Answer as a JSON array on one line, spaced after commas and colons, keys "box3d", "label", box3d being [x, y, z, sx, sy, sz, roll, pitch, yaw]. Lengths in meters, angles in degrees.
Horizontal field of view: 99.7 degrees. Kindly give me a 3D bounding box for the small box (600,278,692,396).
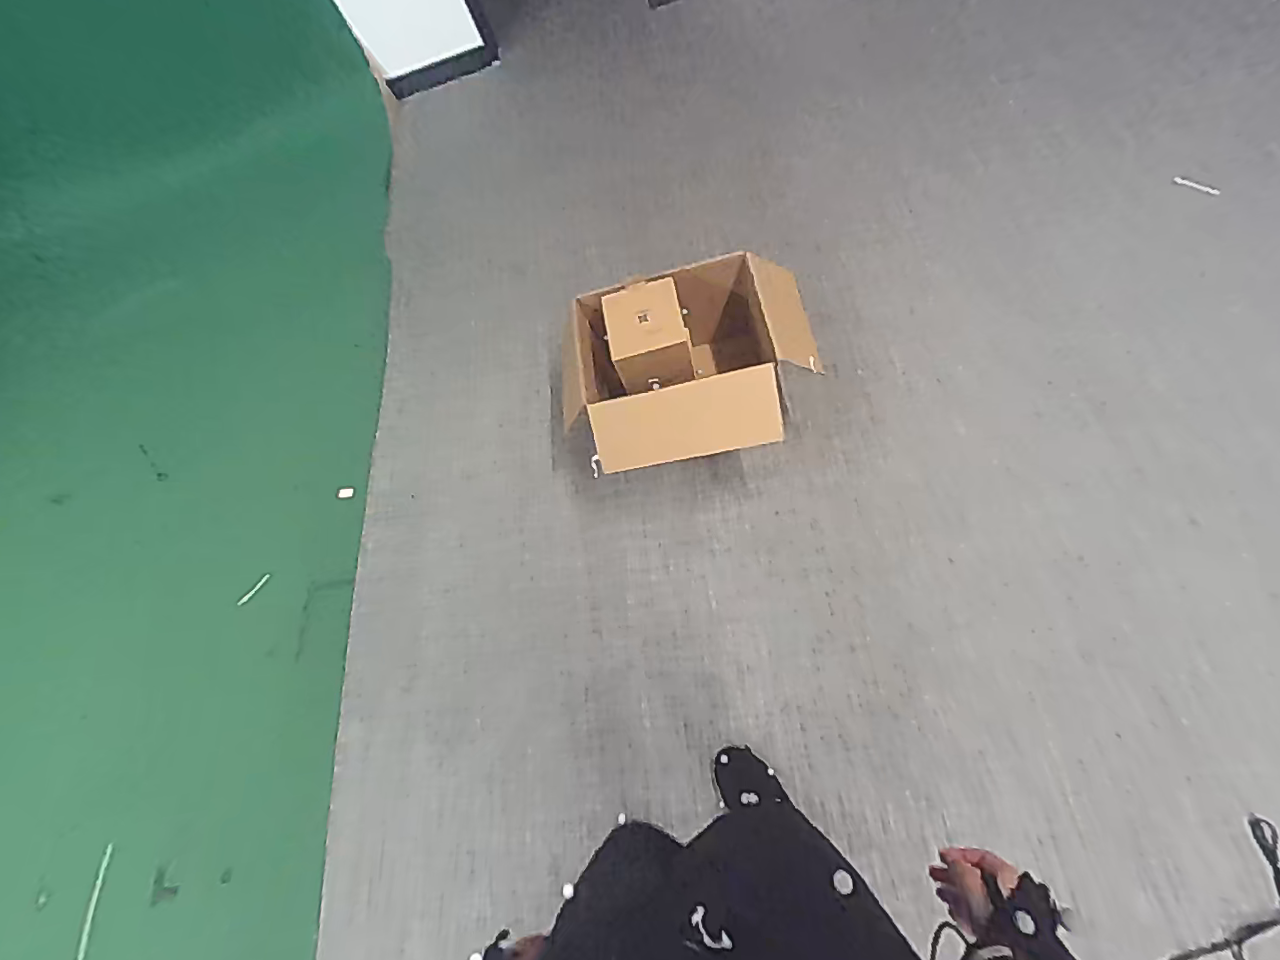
[{"box3d": [0.017, -0.318, 1.228, 0.168, 0.176, 0.179, -13, 68, 7], "label": "small box"}]
